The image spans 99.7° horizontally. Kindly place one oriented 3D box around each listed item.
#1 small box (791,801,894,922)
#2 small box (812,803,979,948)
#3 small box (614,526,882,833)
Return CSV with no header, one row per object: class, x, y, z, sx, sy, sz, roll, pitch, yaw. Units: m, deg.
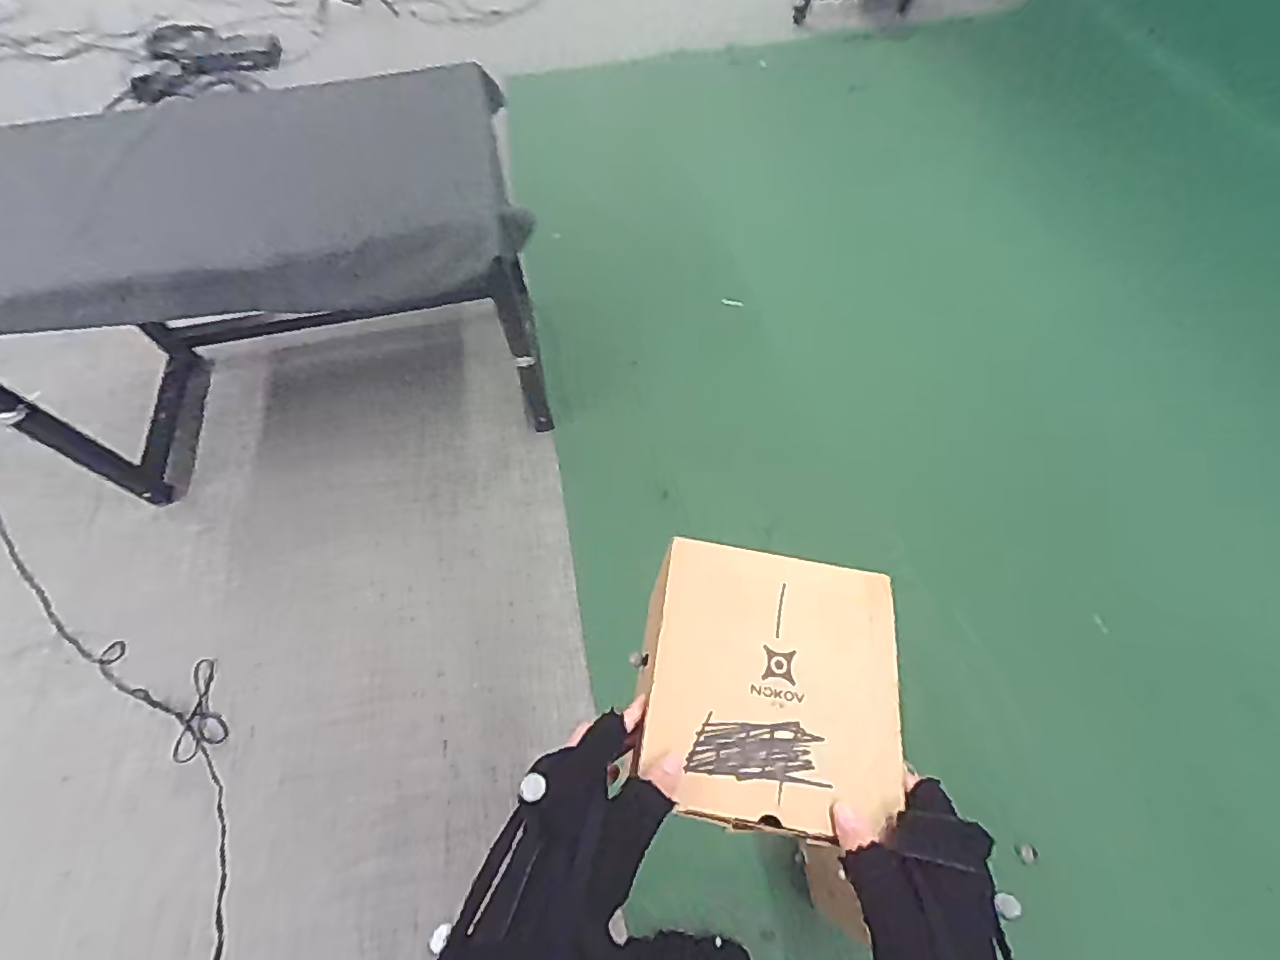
small box,0.415,0.732,1.060,0.179,0.176,0.168,-10,60,-2
small box,0.416,0.654,0.916,0.179,0.176,0.168,-8,60,-3
small box,0.074,0.161,0.435,0.168,0.176,0.179,10,61,0
